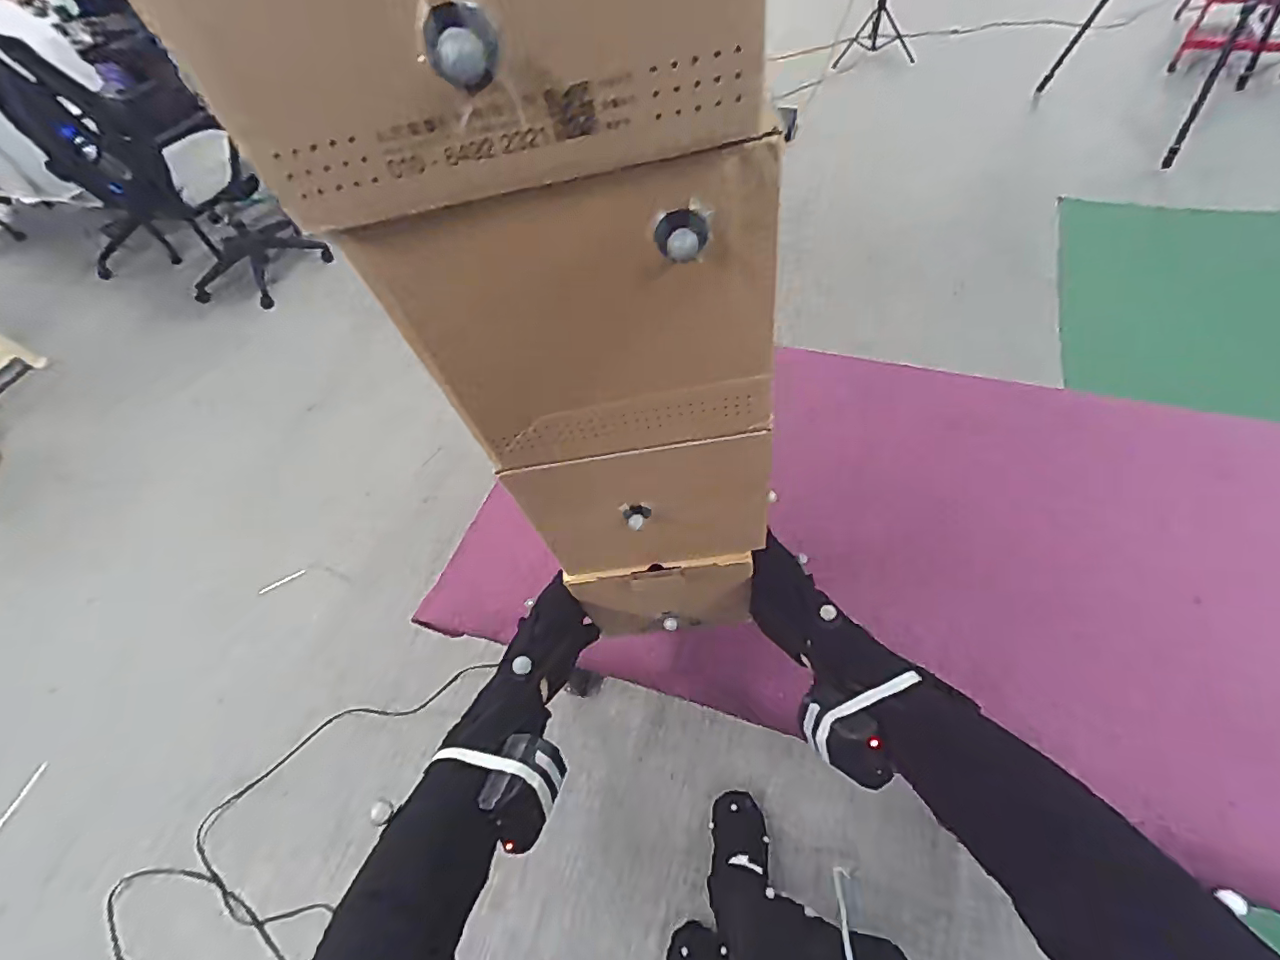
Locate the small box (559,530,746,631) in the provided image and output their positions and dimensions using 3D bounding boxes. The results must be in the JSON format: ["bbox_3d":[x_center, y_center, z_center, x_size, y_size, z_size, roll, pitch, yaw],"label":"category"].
[{"bbox_3d":[0.018,0.047,0.579,0.168,0.176,0.179,-8,58,7],"label":"small box"}]

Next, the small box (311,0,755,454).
[{"bbox_3d":[-0.034,-0.132,0.309,0.179,0.176,0.168,-9,56,6],"label":"small box"}]

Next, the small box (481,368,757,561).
[{"bbox_3d":[-0.003,-0.046,0.441,0.179,0.176,0.168,-6,55,8],"label":"small box"}]
